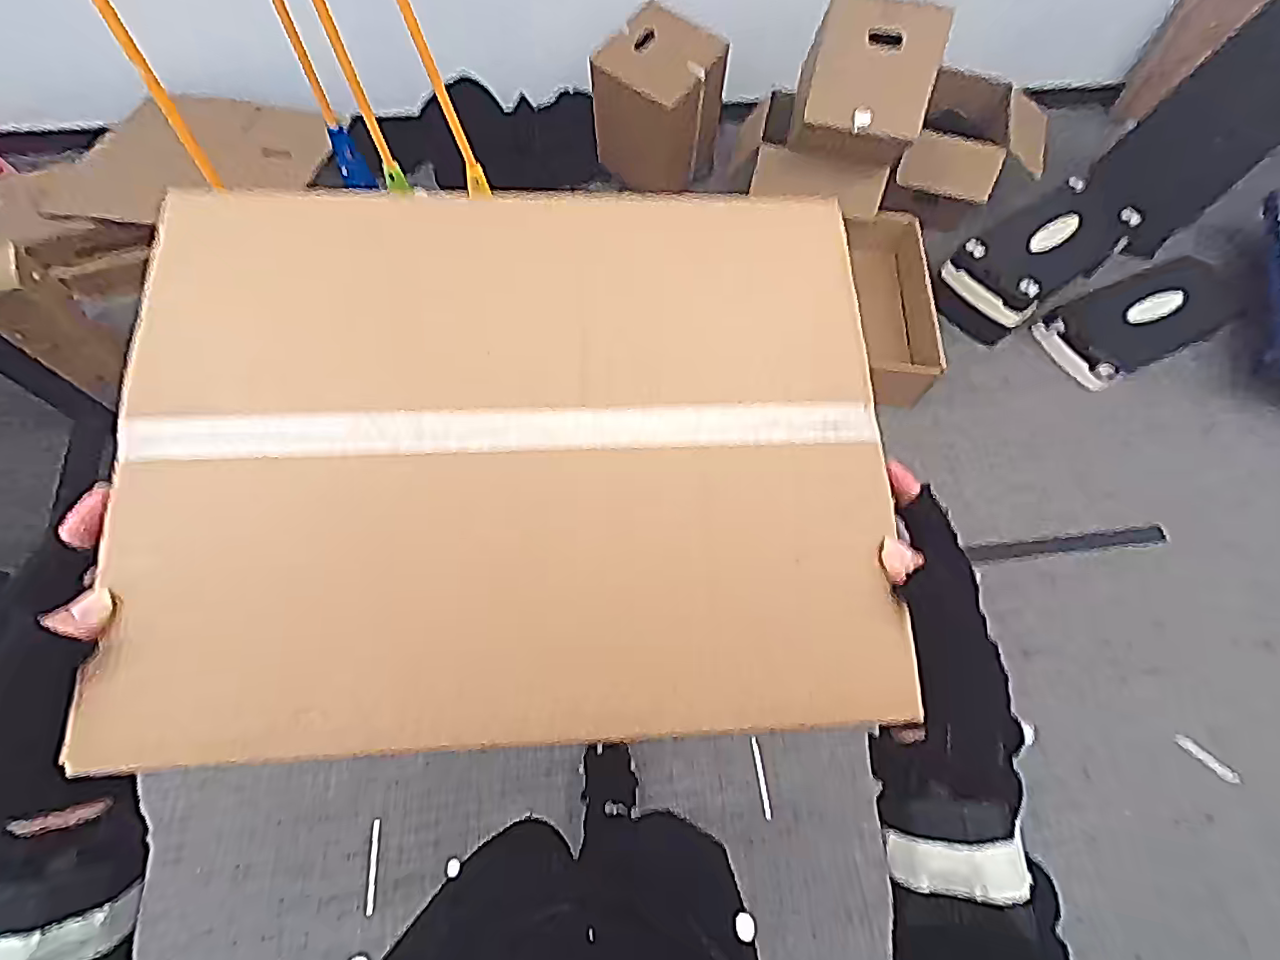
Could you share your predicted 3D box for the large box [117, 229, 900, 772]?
[{"bbox_3d":[-0.076,0.023,0.456,0.408,0.320,0.320,-2,76,-5],"label":"large box"}]
